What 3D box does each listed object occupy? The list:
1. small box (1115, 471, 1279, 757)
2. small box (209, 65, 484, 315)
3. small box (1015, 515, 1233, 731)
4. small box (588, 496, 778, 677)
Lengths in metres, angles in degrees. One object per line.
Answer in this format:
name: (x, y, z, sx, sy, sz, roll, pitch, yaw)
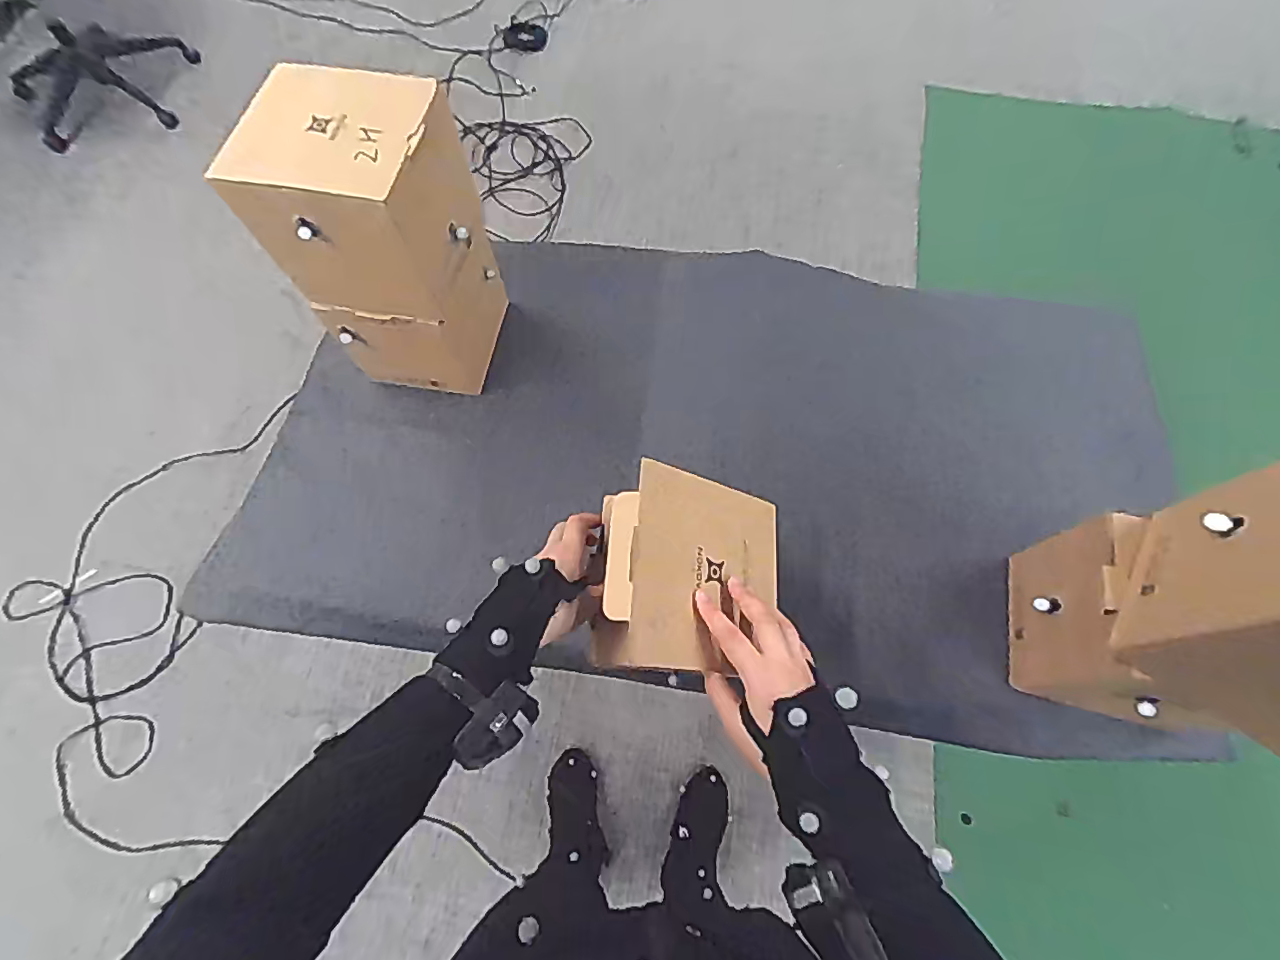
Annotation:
small box: (0.532, 0.108, 0.416, 0.179, 0.176, 0.168, 34, 70, 14)
small box: (-0.292, -0.301, 0.585, 0.179, 0.176, 0.168, 9, 70, 3)
small box: (0.532, 0.159, 0.572, 0.179, 0.176, 0.168, 14, 66, 7)
small box: (0.047, 0.124, 0.593, 0.179, 0.176, 0.168, 3, 71, 2)
